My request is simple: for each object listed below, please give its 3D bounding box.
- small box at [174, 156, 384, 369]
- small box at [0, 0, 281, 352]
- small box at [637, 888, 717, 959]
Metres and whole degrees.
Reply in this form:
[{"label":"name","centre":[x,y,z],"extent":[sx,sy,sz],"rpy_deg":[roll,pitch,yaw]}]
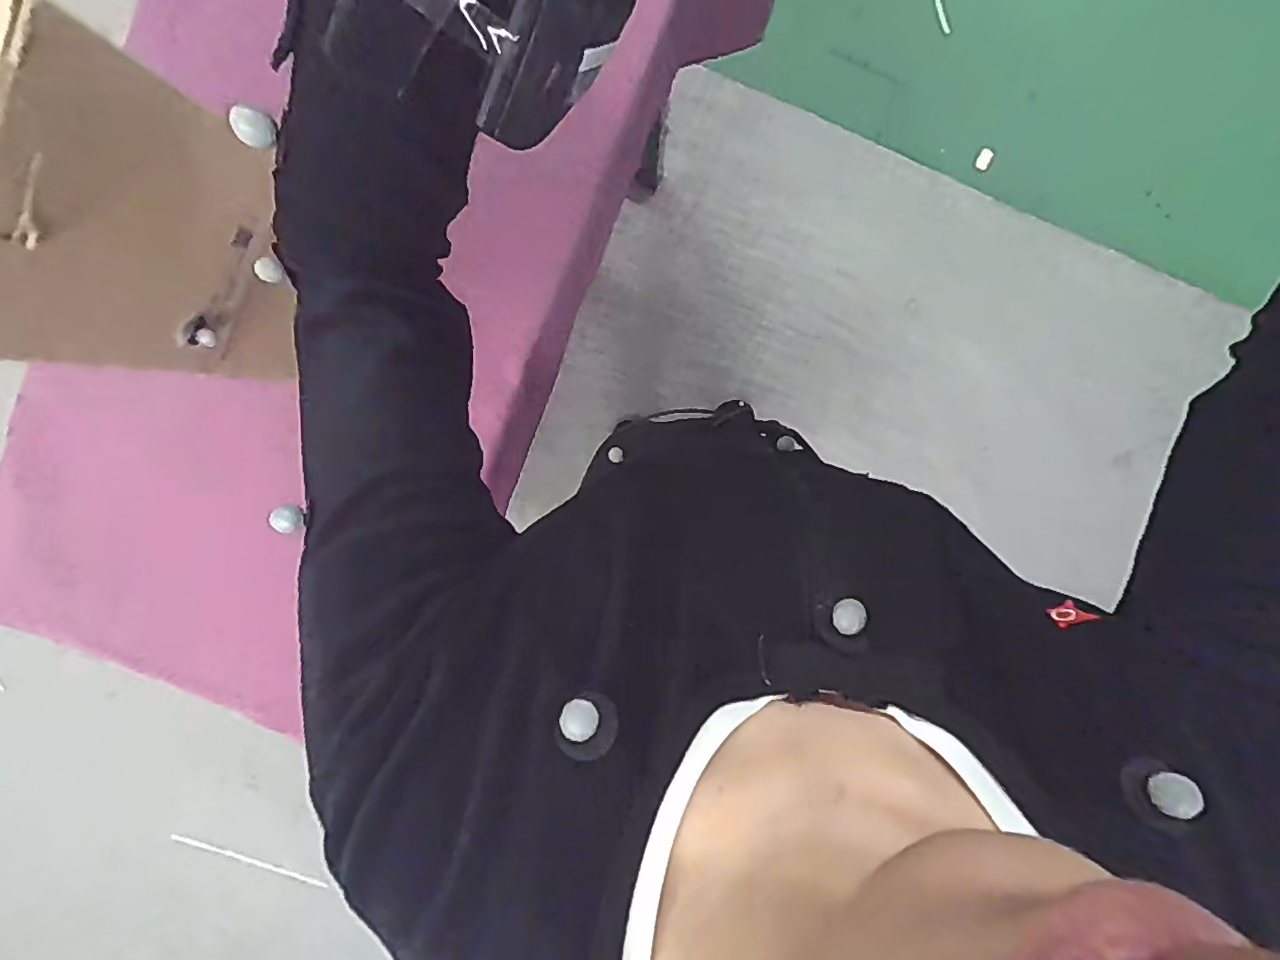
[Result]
[{"label":"small box","centre":[-0.367,-0.206,0.471],"extent":[0.179,0.176,0.168],"rpy_deg":[25,97,-3]},{"label":"small box","centre":[-0.357,-0.185,0.309],"extent":[0.179,0.176,0.168],"rpy_deg":[26,97,-2]},{"label":"small box","centre":[0.101,1.329,1.554],"extent":[0.179,0.176,0.168],"rpy_deg":[21,96,-3]}]
